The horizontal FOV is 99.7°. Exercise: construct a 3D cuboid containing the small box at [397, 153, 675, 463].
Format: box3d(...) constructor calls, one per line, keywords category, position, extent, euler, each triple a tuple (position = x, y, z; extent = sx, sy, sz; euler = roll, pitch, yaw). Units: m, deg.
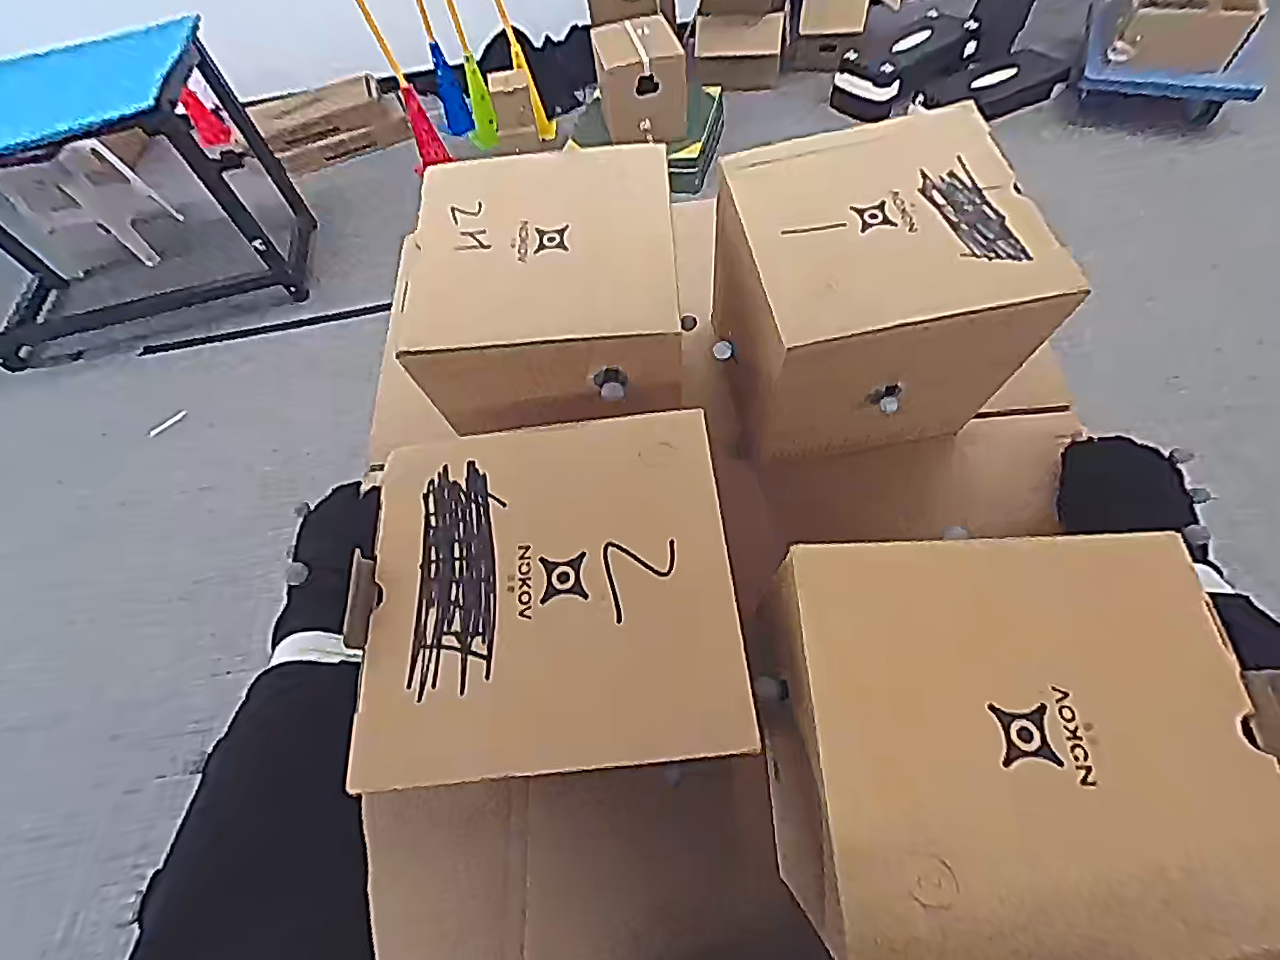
box3d(category="small box", position=(-0.062, -0.124, 0.437), extent=(0.179, 0.176, 0.168), euler=(-4, 66, 4))
